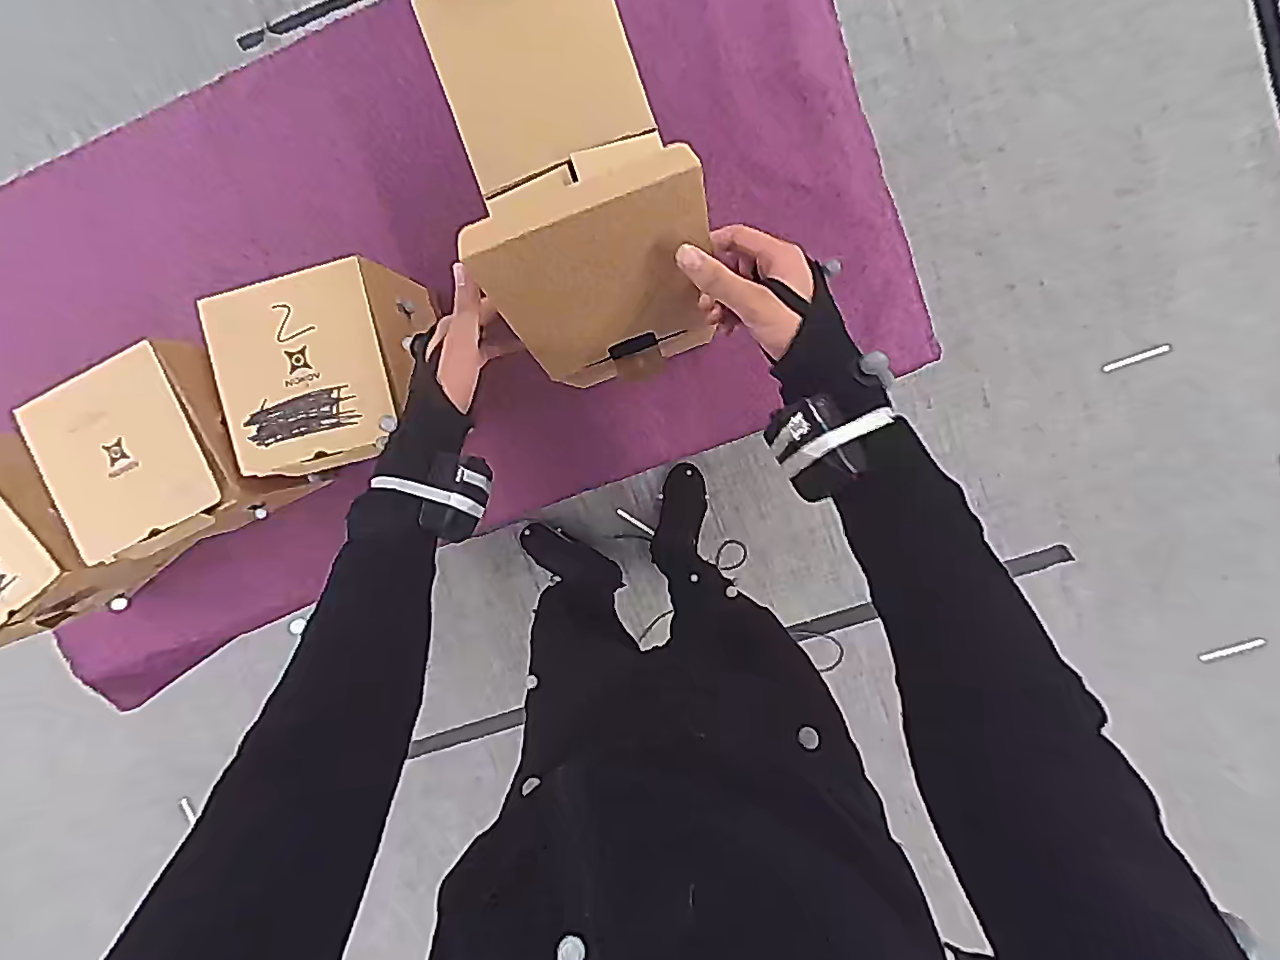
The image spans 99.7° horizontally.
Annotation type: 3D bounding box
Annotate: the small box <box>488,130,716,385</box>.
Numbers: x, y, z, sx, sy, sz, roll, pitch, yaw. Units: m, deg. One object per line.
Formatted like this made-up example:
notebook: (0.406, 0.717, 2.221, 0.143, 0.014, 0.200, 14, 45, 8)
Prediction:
small box: (-0.030, -0.208, 0.561, 0.168, 0.176, 0.179, -18, 96, 7)
